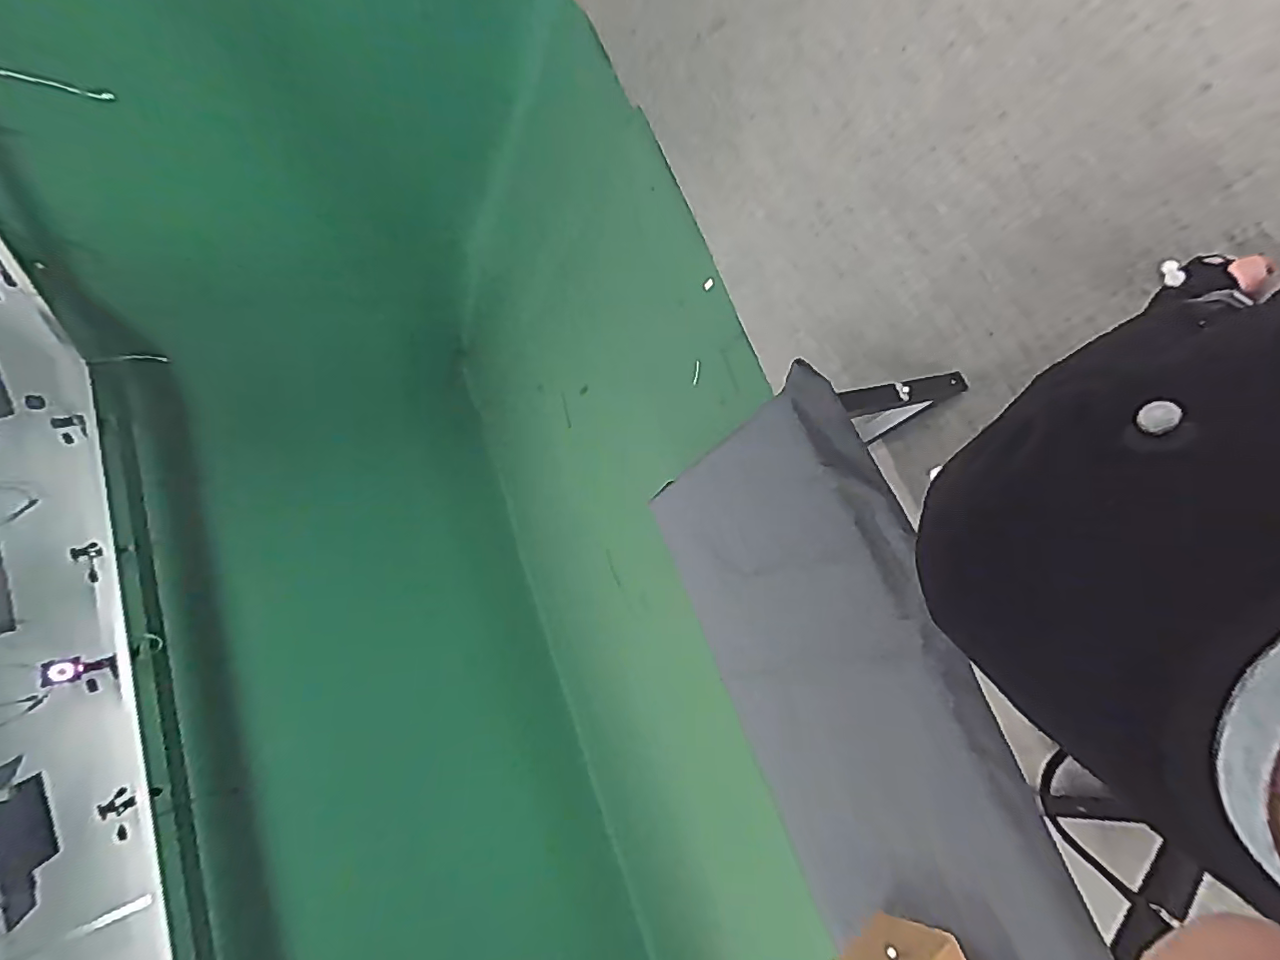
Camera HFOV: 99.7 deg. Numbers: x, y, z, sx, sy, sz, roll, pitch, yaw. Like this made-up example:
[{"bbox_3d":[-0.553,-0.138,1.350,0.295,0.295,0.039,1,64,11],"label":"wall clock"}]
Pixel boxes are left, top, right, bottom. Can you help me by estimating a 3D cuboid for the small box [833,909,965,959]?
[{"bbox_3d":[0.512,0.958,1.019,0.179,0.176,0.168,-42,65,53],"label":"small box"}]
